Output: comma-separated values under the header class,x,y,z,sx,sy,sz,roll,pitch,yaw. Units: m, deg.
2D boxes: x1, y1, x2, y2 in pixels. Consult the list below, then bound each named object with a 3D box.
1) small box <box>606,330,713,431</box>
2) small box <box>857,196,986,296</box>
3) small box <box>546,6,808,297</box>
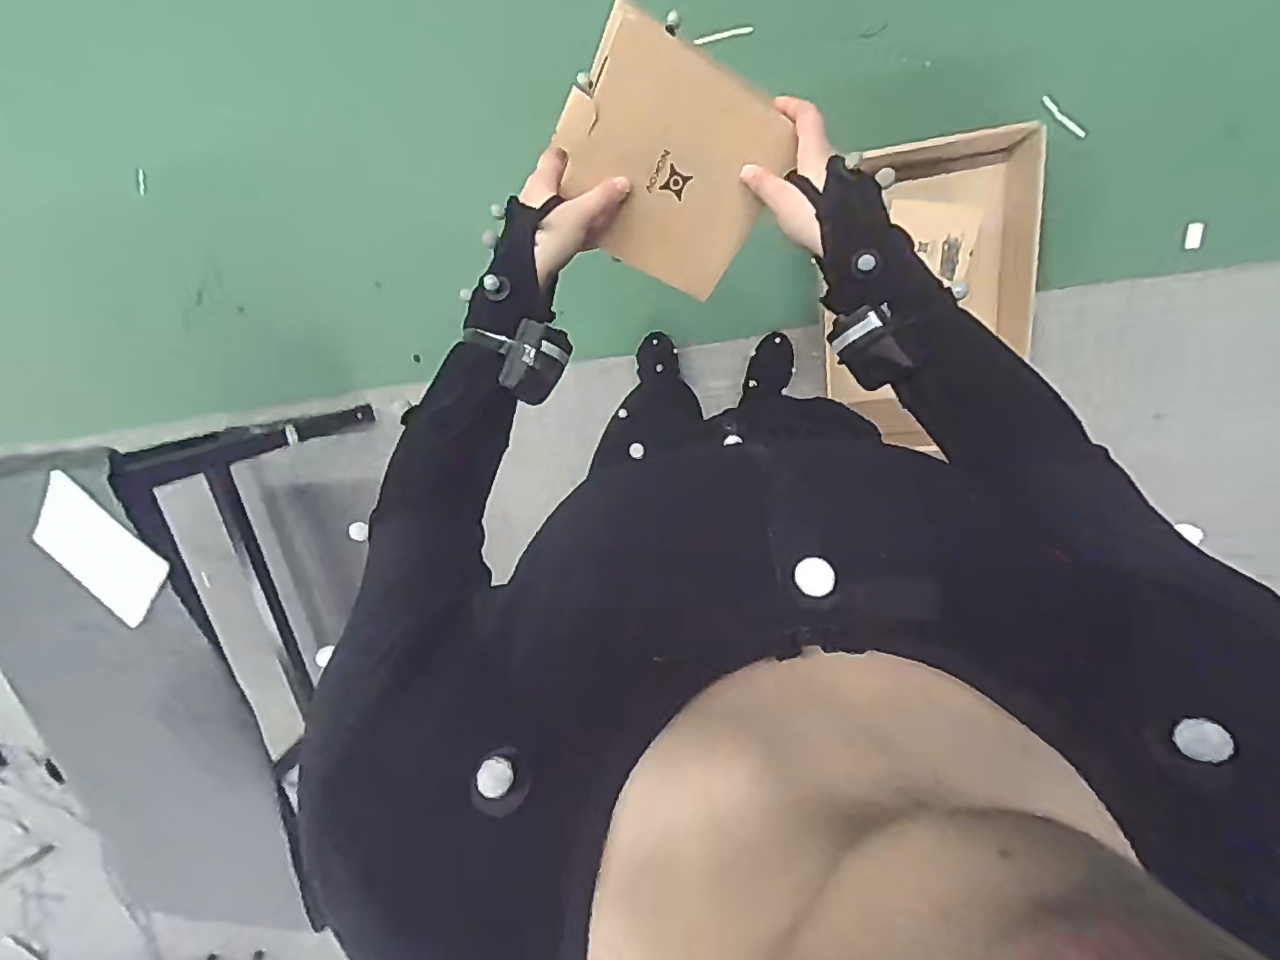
class,x,y,z,sx,sy,sz,roll,pitch,yaw
small box,0.055,-0.246,1.339,0.176,0.168,0.179,40,80,-28
small box,0.578,-0.486,1.136,0.179,0.176,0.168,11,111,8
small box,0.025,-0.316,0.522,0.179,0.176,0.168,18,130,-20
